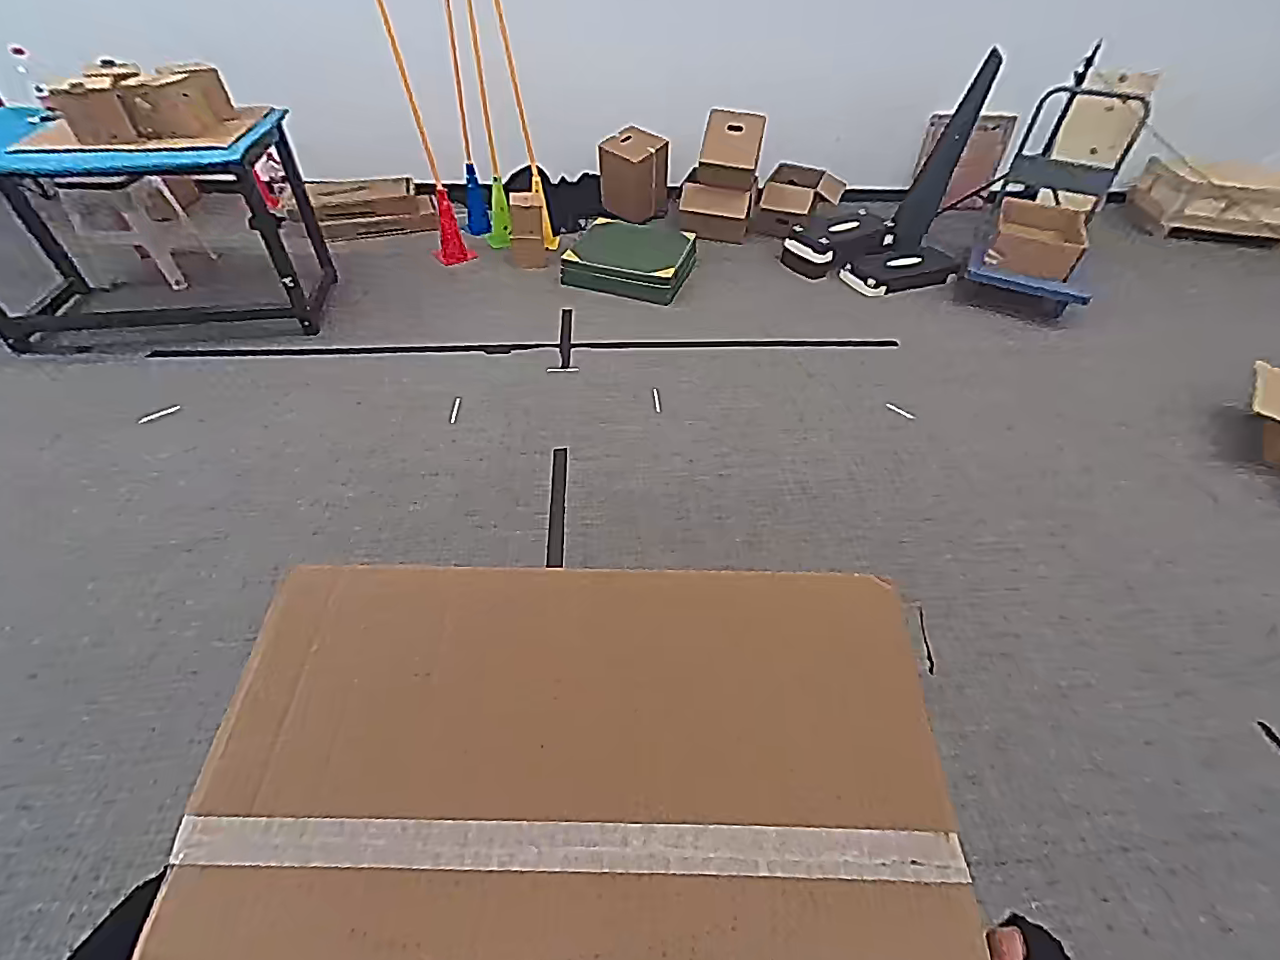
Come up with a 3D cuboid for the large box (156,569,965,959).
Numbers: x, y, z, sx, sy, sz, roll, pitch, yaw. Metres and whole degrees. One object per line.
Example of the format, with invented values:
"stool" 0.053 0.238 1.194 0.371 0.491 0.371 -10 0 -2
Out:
"large box" -0.038 0.274 0.418 0.408 0.320 0.320 1 57 1
